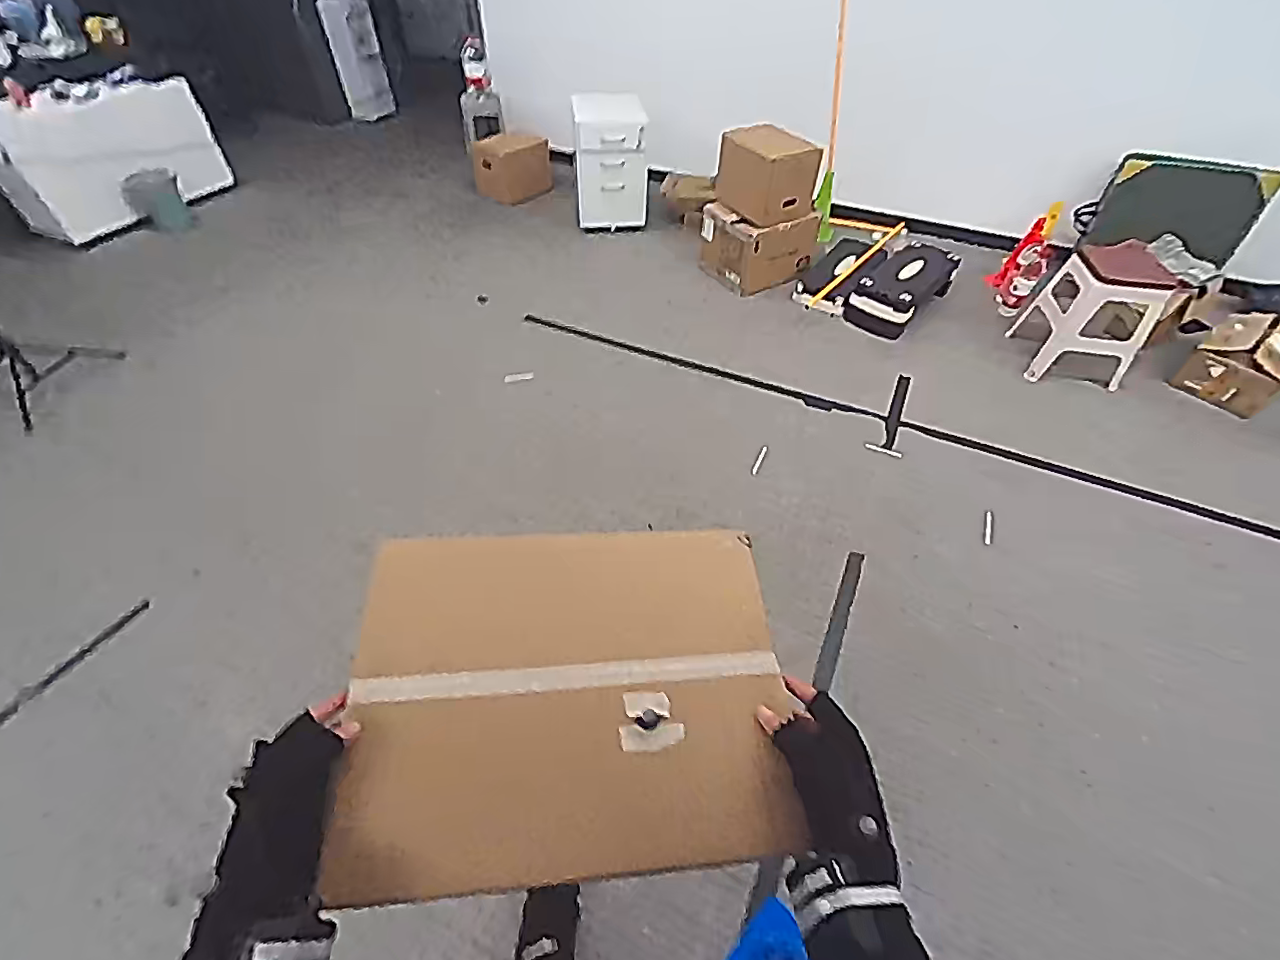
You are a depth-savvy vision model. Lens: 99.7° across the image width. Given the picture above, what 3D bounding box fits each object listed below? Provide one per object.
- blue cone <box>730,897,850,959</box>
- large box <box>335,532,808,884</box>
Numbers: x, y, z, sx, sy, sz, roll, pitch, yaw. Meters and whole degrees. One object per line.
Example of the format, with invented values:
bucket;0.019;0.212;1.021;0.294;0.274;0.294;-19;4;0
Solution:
blue cone;0.300;0.881;0.968;0.192;0.380;0.193;-34;58;-28
large box;-0.075;0.277;0.655;0.408;0.320;0.320;0;54;-7
